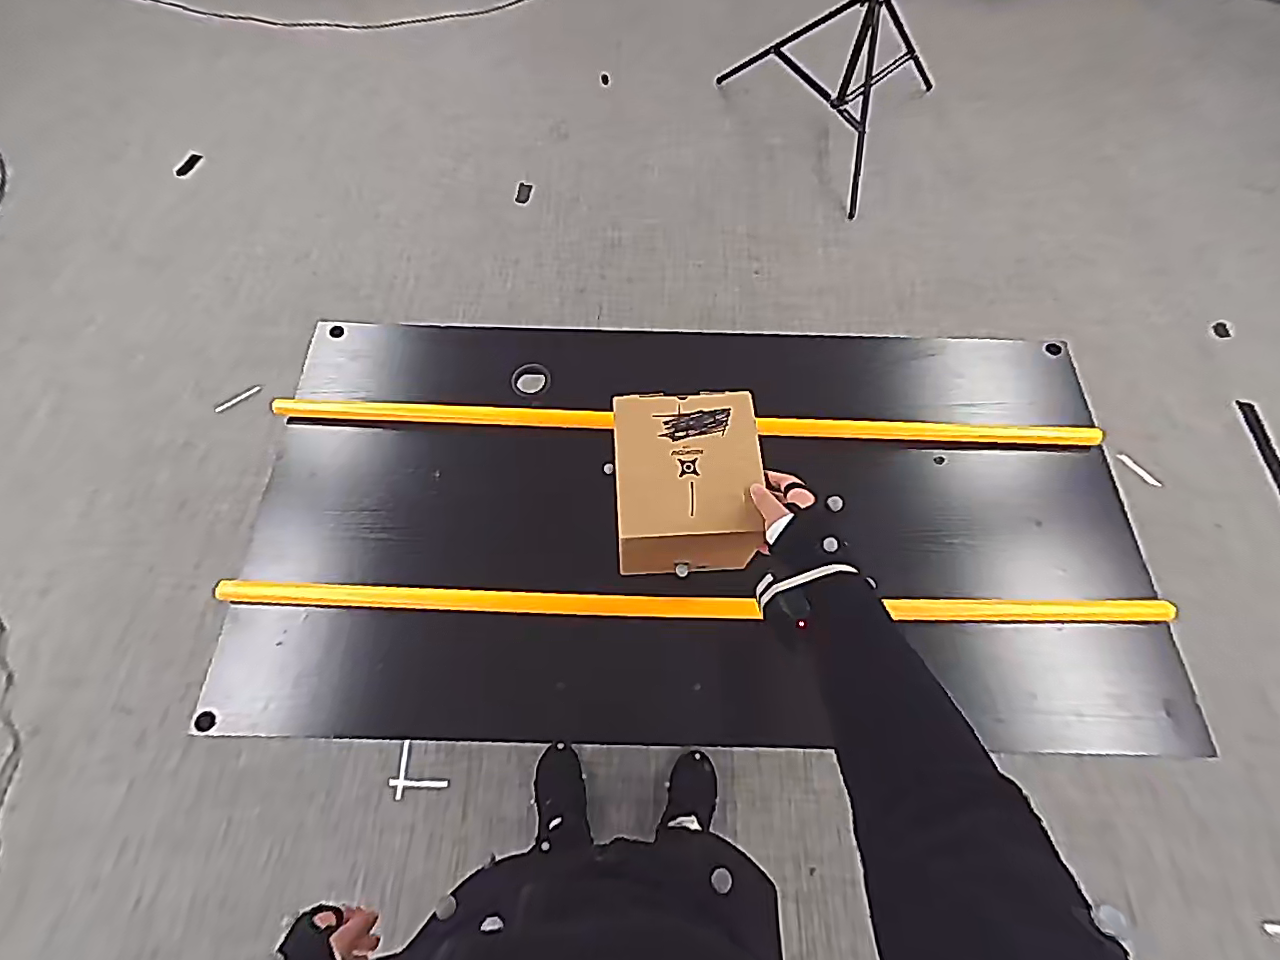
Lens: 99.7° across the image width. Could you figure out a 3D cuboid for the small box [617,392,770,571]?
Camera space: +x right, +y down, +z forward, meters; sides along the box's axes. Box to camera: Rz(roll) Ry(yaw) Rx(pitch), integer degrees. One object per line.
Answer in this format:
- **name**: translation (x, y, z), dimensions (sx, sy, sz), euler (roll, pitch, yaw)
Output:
- **small box**: translation (0.054, 0.007, 0.686), dimensions (0.168, 0.176, 0.179), euler (-3, 67, -2)
